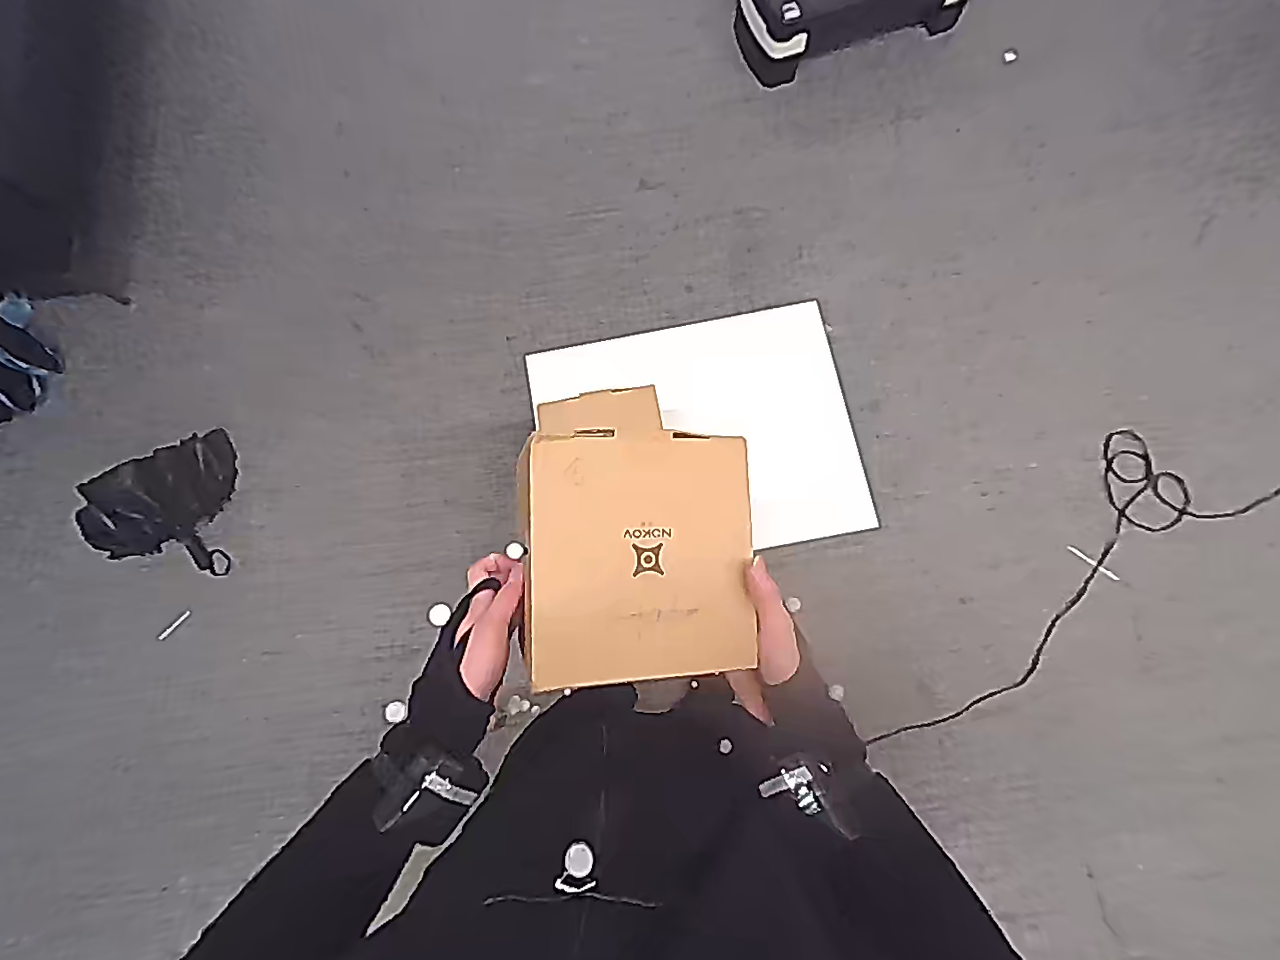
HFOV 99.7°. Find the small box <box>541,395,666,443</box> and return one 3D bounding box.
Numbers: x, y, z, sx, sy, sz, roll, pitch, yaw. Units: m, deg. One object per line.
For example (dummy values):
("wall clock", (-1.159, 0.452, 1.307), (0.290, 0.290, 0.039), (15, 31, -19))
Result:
("small box", (-0.041, -0.002, 0.794), (0.168, 0.176, 0.179), (-10, 76, 0))

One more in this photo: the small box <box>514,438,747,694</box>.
("small box", (-0.021, 0.066, 0.463), (0.168, 0.176, 0.179), (0, 84, -14))
